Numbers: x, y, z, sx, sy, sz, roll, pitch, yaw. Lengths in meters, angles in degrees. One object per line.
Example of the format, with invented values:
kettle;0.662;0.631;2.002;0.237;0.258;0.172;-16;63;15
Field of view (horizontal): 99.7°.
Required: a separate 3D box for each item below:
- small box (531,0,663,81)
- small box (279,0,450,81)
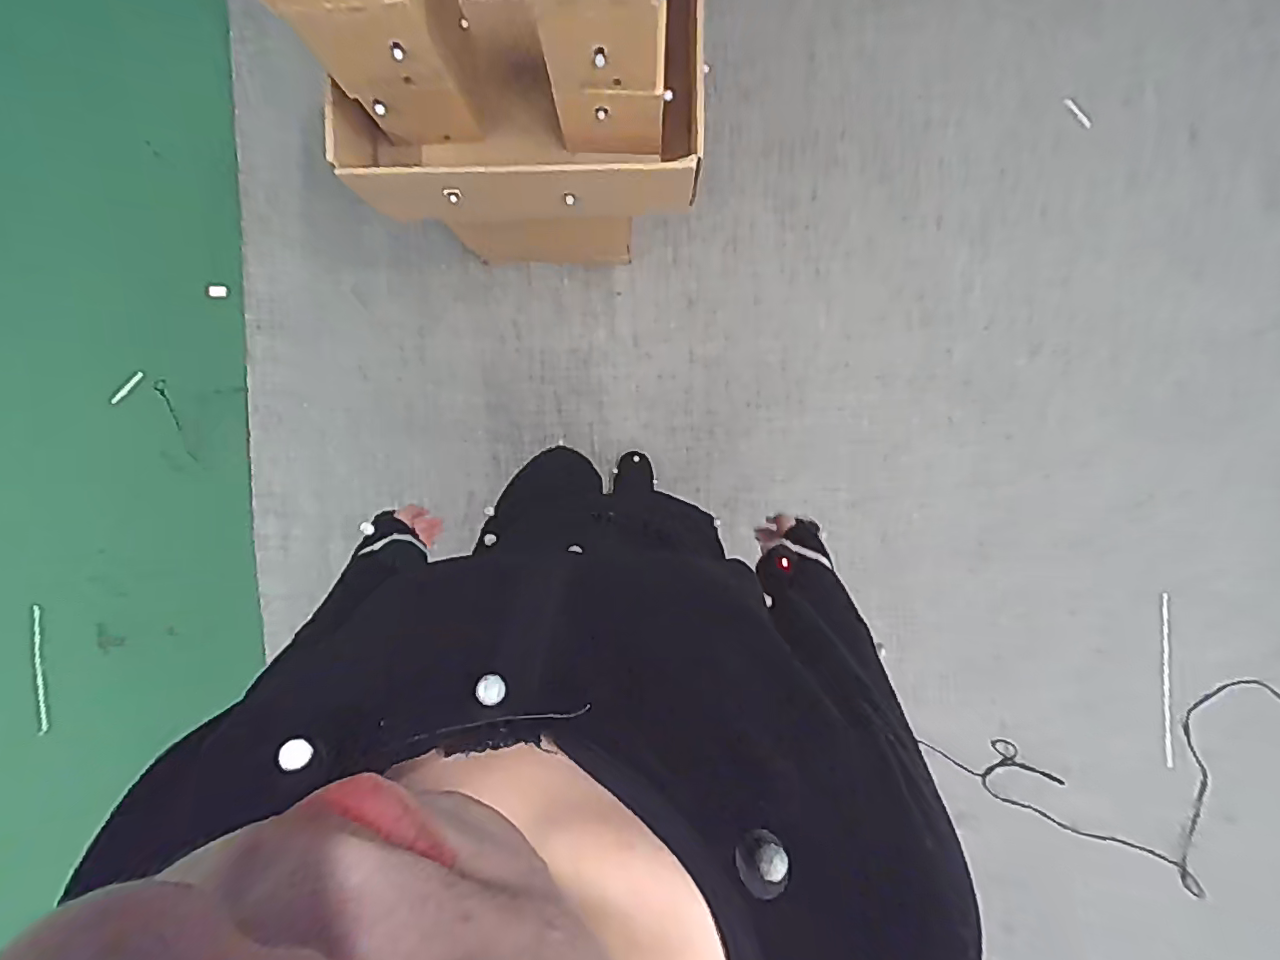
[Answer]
small box;-0.050;-0.689;0.742;0.168;0.176;0.179;2;94;0
small box;-0.375;-0.690;0.748;0.168;0.176;0.179;-4;92;1
